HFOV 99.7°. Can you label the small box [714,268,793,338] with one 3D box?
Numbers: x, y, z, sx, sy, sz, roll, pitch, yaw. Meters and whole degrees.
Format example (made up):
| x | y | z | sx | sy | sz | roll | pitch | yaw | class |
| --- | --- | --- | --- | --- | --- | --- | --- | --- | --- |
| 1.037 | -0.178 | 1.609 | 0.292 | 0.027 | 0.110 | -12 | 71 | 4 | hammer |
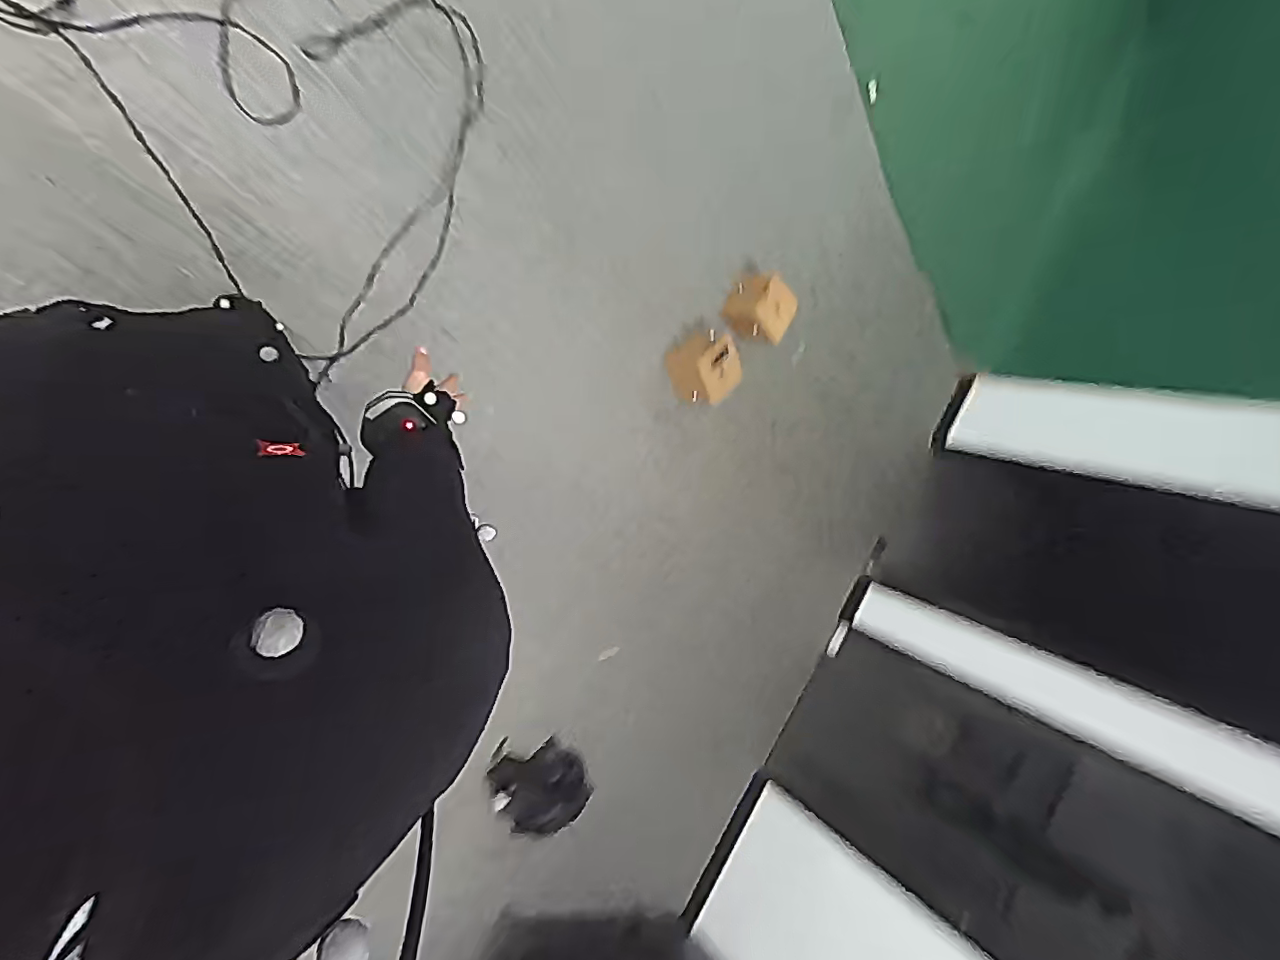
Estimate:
| x | y | z | sx | sy | sz | roll | pitch | yaw | class |
| --- | --- | --- | --- | --- | --- | --- | --- | --- | --- |
| 0.395 | -0.620 | 1.890 | 0.179 | 0.176 | 0.168 | 33 | 82 | -42 | small box |
